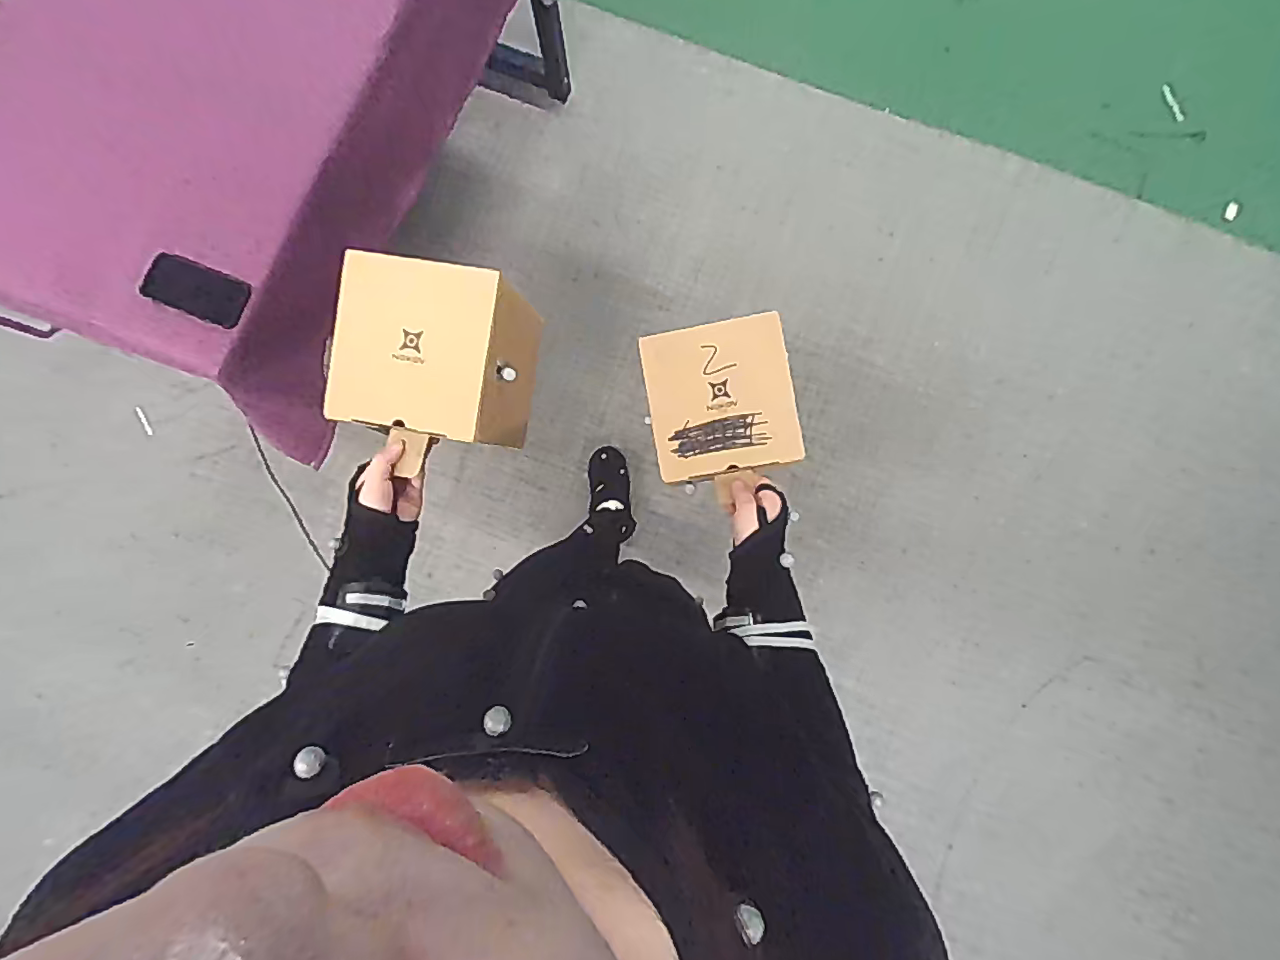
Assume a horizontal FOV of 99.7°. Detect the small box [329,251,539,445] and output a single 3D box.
[{"bbox_3d":[-0.227,-0.142,0.639,0.168,0.176,0.179,10,93,4],"label":"small box"}]
